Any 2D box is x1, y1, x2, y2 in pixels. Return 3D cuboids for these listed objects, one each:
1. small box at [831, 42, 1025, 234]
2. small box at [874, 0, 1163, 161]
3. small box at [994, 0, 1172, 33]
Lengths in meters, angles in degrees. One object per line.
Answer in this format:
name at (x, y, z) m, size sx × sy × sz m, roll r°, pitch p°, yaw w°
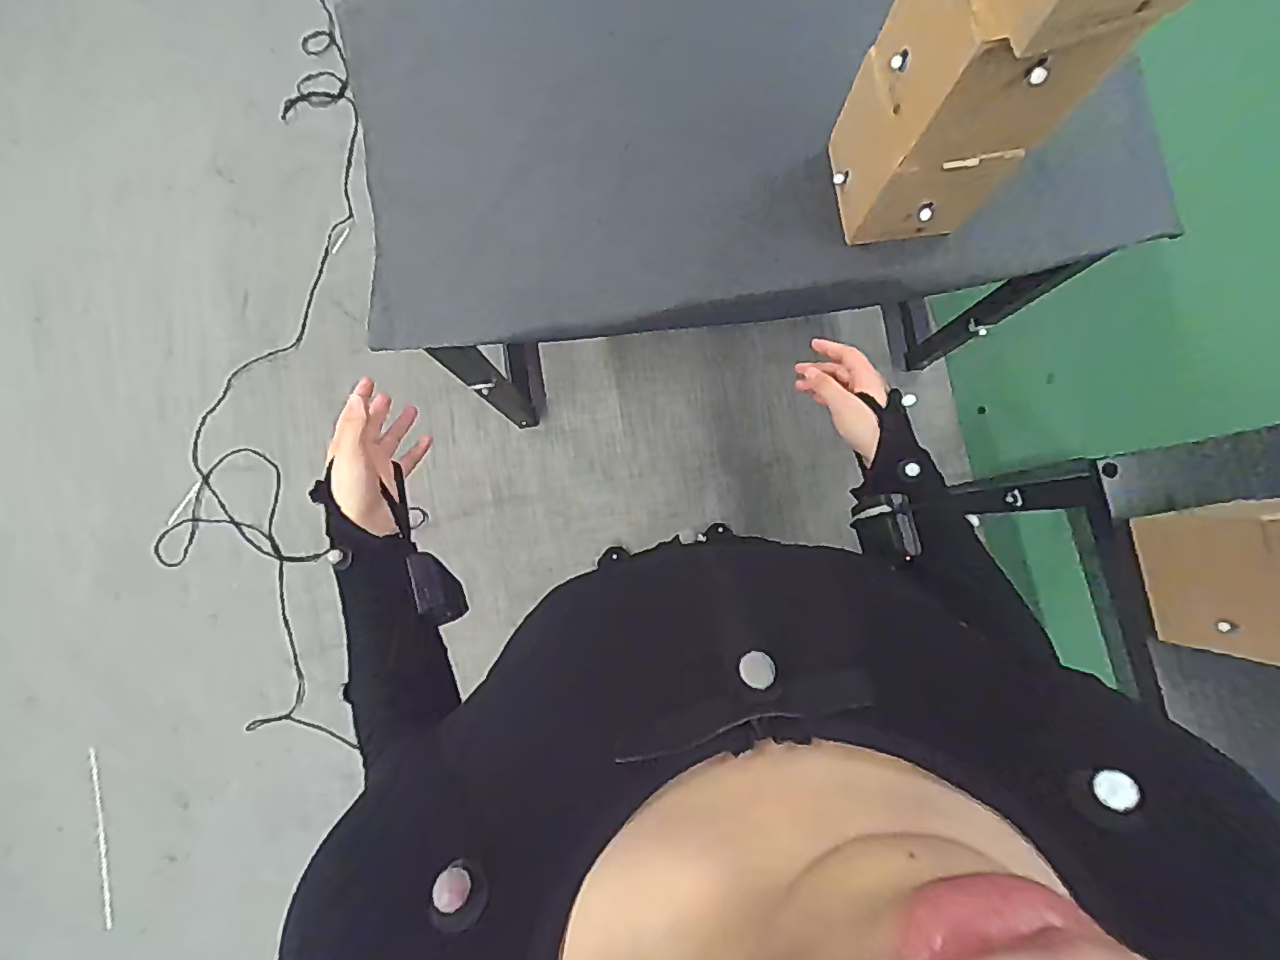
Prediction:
small box at (0.378, -0.462, 0.743) m, size 0.168 × 0.176 × 0.179 m, roll -8°, pitch 83°, yaw 1°
small box at (0.382, -0.483, 0.581) m, size 0.179 × 0.176 × 0.168 m, roll -9°, pitch 83°, yaw 1°
small box at (0.386, -0.497, 0.416) m, size 0.168 × 0.176 × 0.179 m, roll -17°, pitch 82°, yaw 0°
